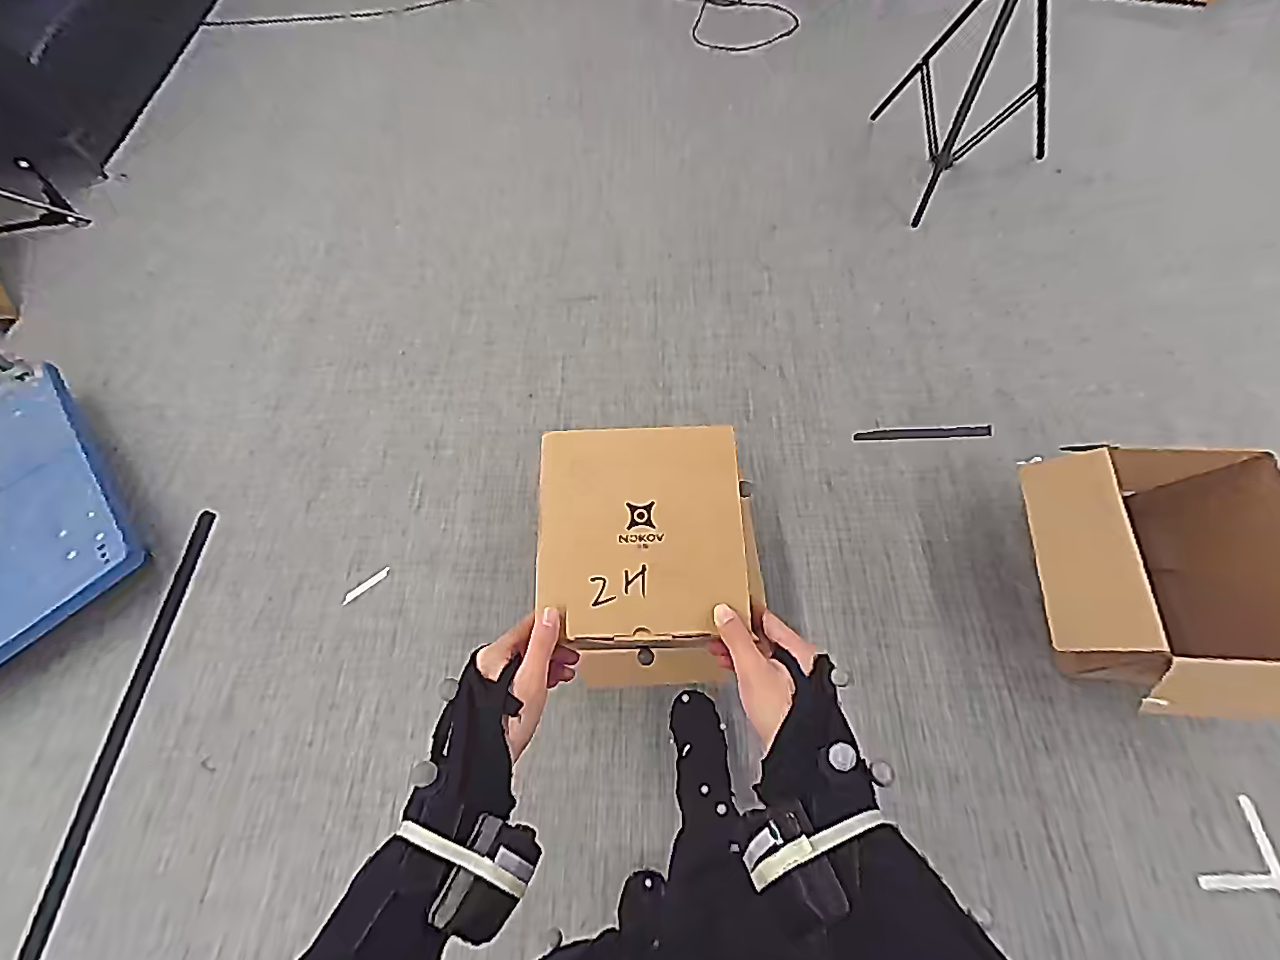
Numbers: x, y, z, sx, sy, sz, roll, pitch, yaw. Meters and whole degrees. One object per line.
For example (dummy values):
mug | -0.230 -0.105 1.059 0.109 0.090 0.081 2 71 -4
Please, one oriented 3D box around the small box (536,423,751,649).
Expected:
small box | 0.004 0.062 0.510 0.168 0.176 0.179 -2 70 2
